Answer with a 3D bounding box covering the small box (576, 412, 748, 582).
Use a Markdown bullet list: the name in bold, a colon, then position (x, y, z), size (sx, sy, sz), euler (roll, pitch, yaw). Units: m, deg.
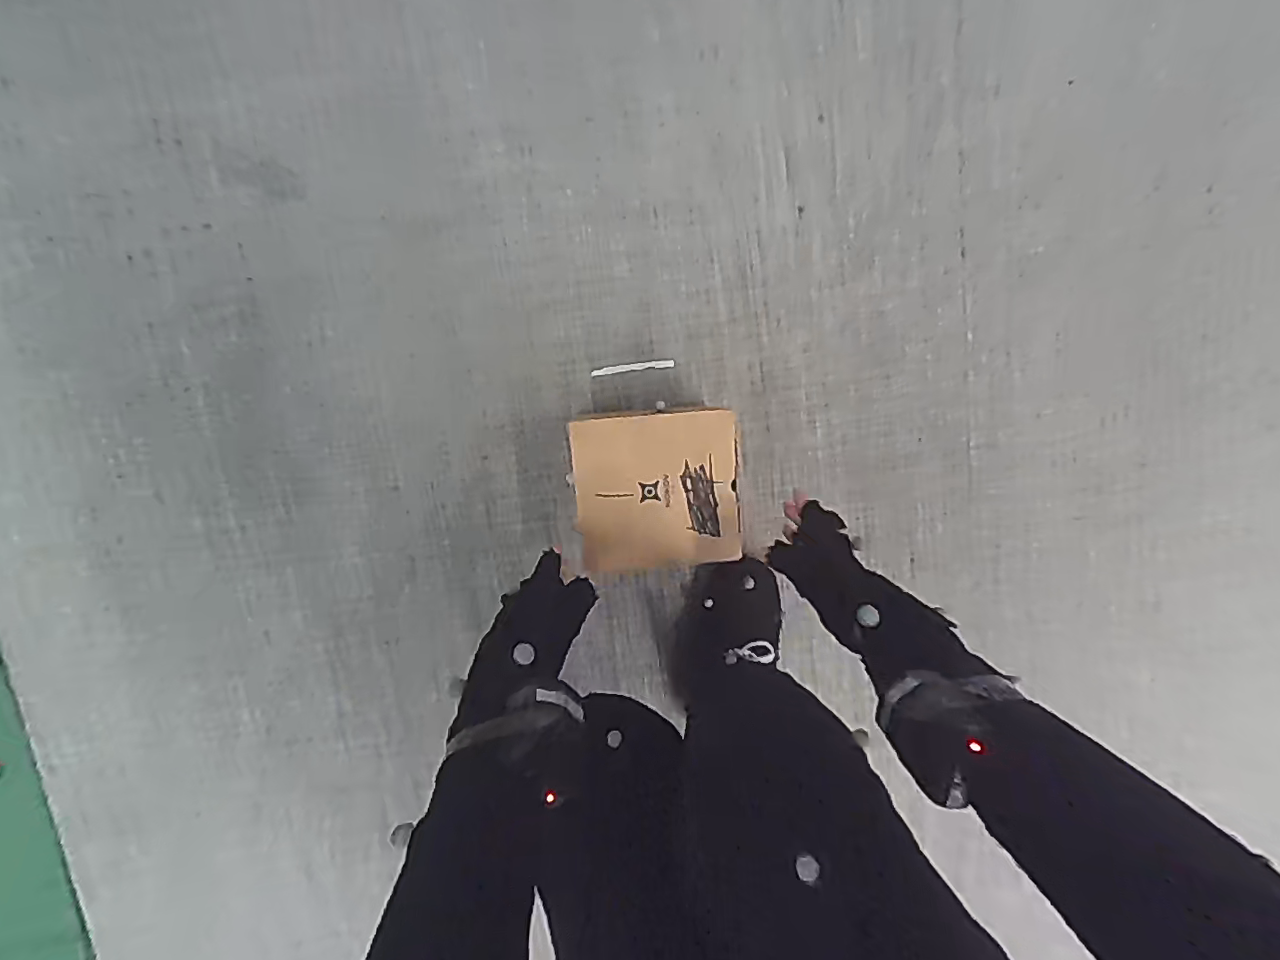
- **small box**: position (0.020, 0.009, 0.657), size (0.179, 0.176, 0.168), euler (-7, 99, -2)
